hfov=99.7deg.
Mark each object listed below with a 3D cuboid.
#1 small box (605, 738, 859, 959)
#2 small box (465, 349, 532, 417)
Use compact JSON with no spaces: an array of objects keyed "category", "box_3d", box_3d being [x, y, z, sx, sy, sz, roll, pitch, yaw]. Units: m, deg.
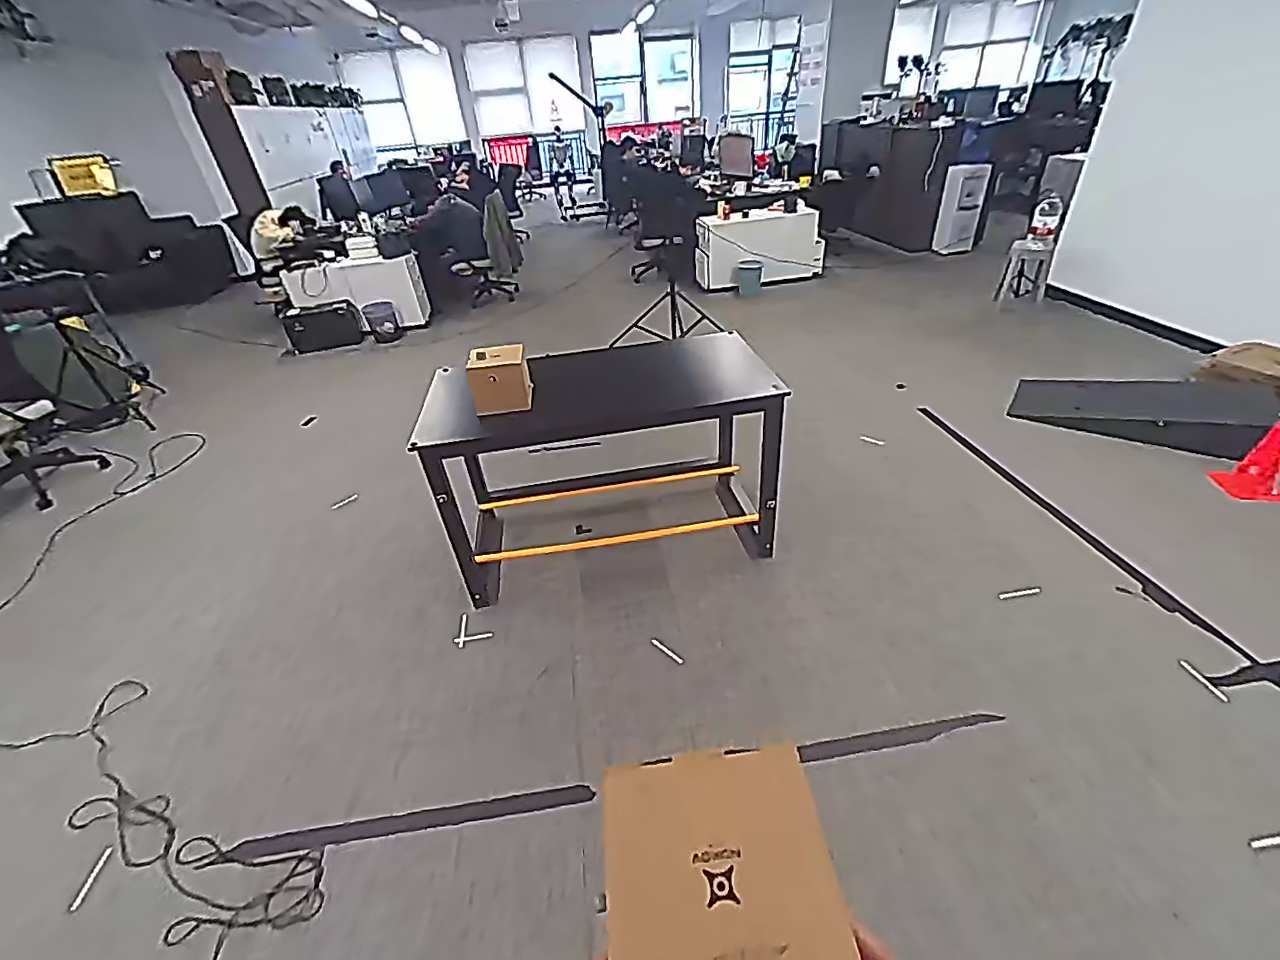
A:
[{"category":"small box","box_3d":[0.062,0.344,0.443,0.168,0.176,0.179,-7,40,-1]},{"category":"small box","box_3d":[-0.466,-0.322,1.802,0.179,0.176,0.168,-8,35,-4]}]
